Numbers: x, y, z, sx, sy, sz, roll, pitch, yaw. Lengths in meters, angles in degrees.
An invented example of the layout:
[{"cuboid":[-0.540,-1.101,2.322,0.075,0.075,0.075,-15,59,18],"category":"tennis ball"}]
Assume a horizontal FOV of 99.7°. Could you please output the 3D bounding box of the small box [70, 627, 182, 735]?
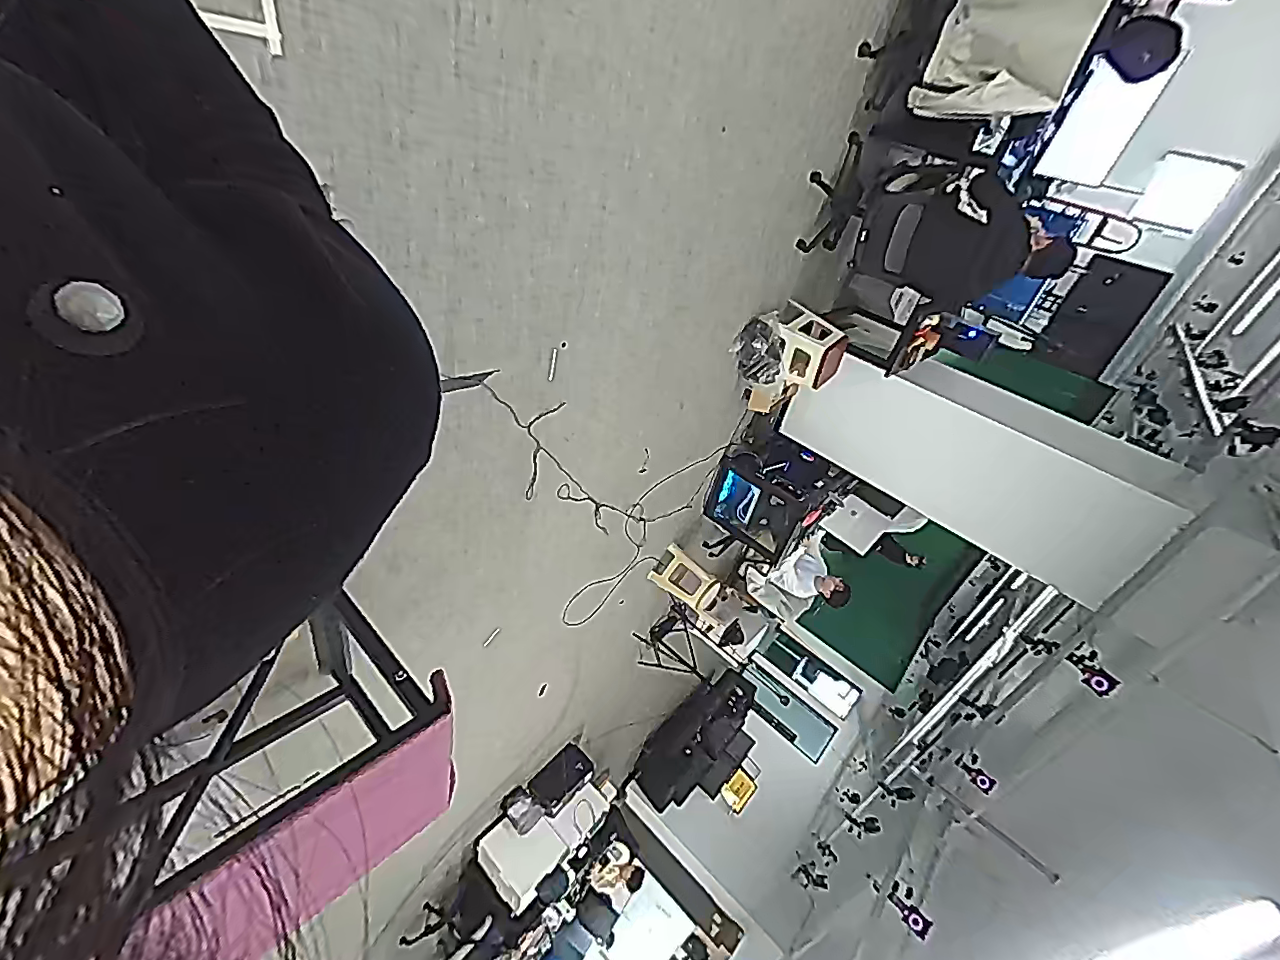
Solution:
[{"cuboid":[-1.389,0.538,1.466,0.168,0.176,0.179,-26,141,-44],"category":"small box"}]
